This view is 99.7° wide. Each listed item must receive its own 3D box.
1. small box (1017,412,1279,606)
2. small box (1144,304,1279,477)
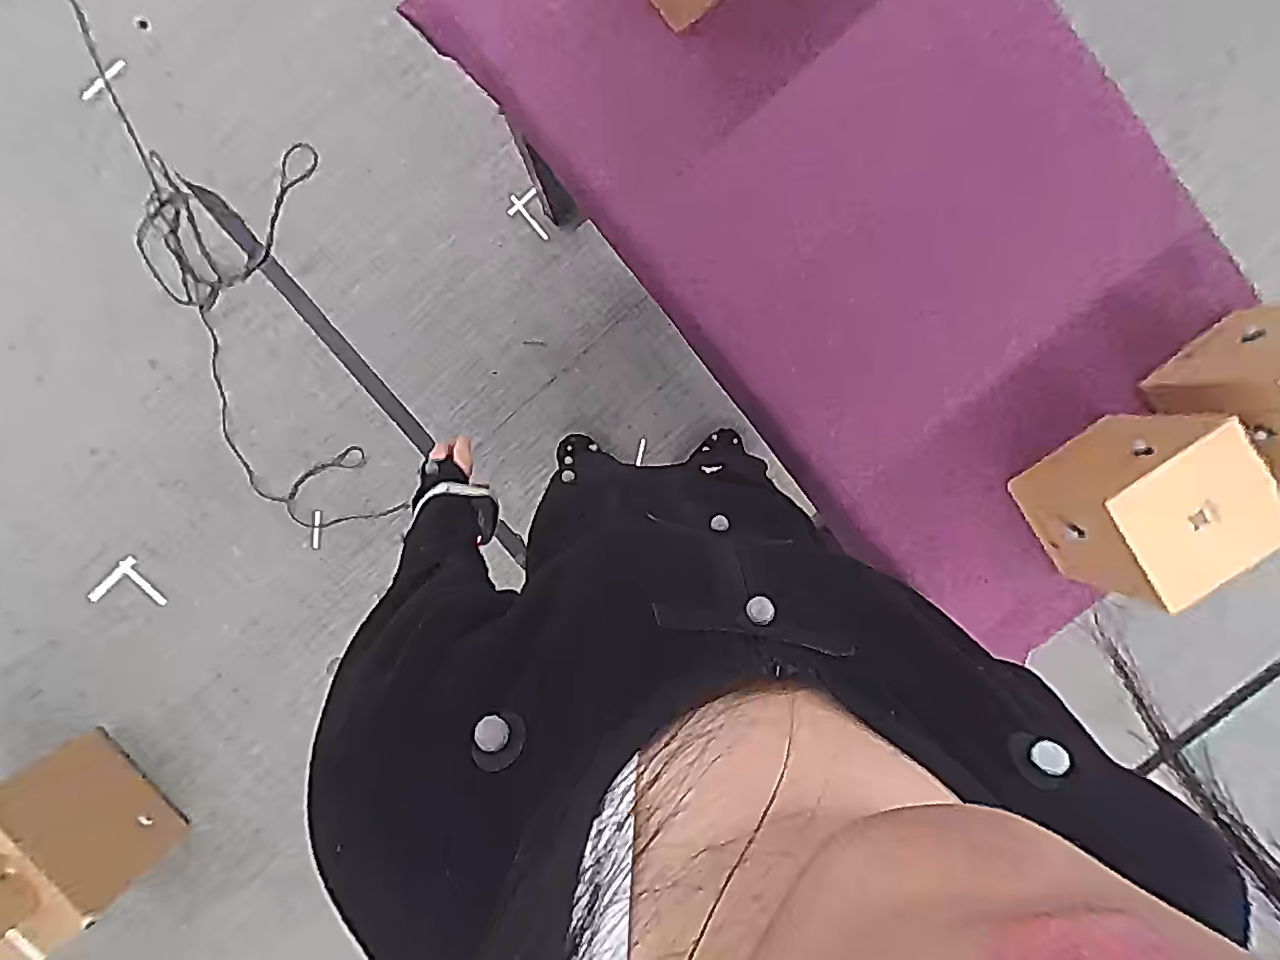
[{"bbox_3d":[0.639,0.028,0.702,0.179,0.176,0.168,-35,96,2],"label":"small box"},{"bbox_3d":[0.811,-0.113,0.683,0.168,0.176,0.179,-39,97,4],"label":"small box"}]
